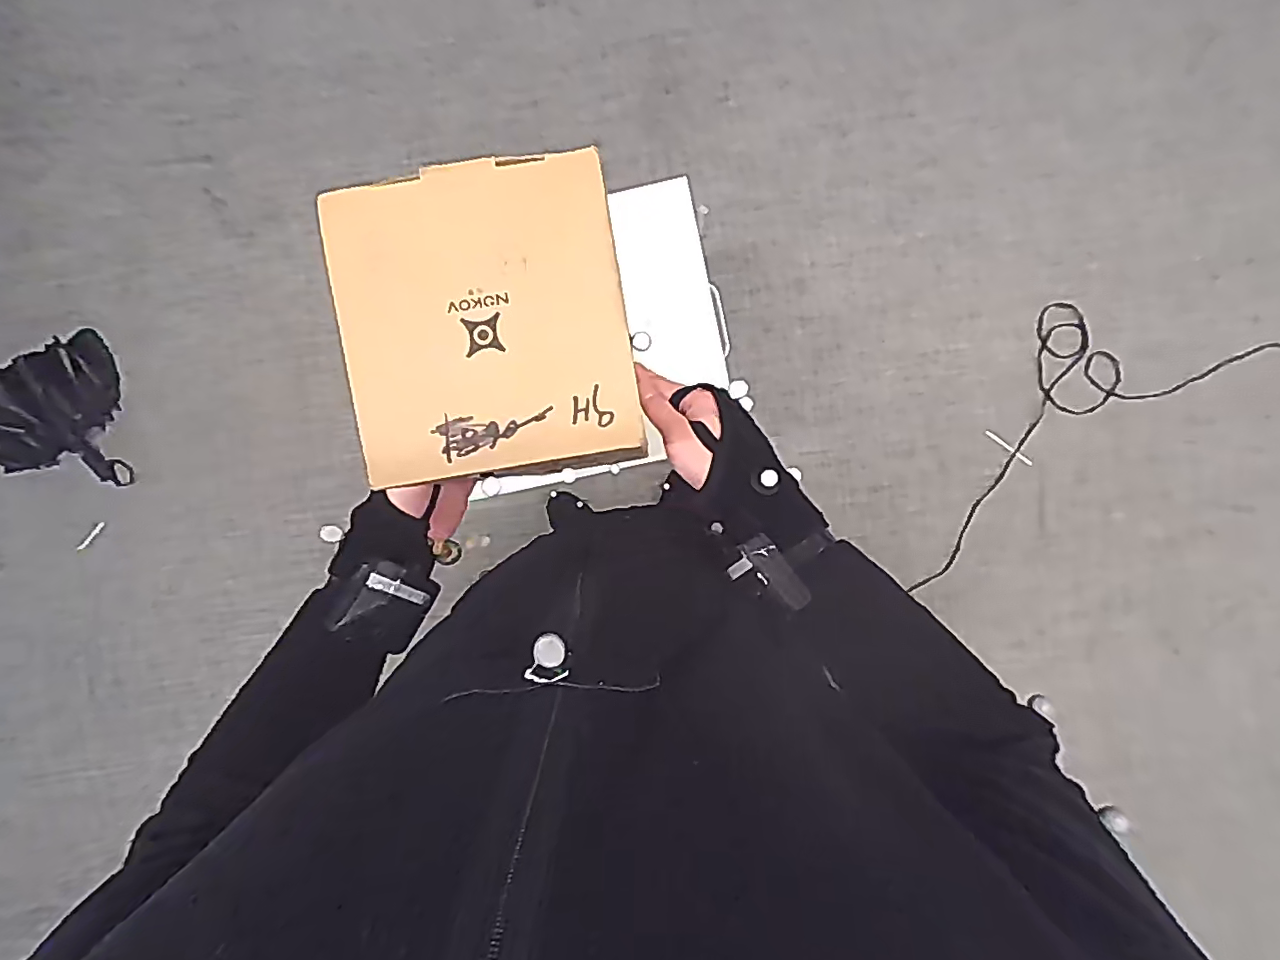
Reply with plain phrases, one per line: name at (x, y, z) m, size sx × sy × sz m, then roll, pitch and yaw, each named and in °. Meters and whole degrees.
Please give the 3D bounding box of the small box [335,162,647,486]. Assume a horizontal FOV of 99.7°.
small box at (-0.089, -0.092, 0.400) m, size 0.168 × 0.176 × 0.179 m, roll -9°, pitch 91°, yaw 1°
